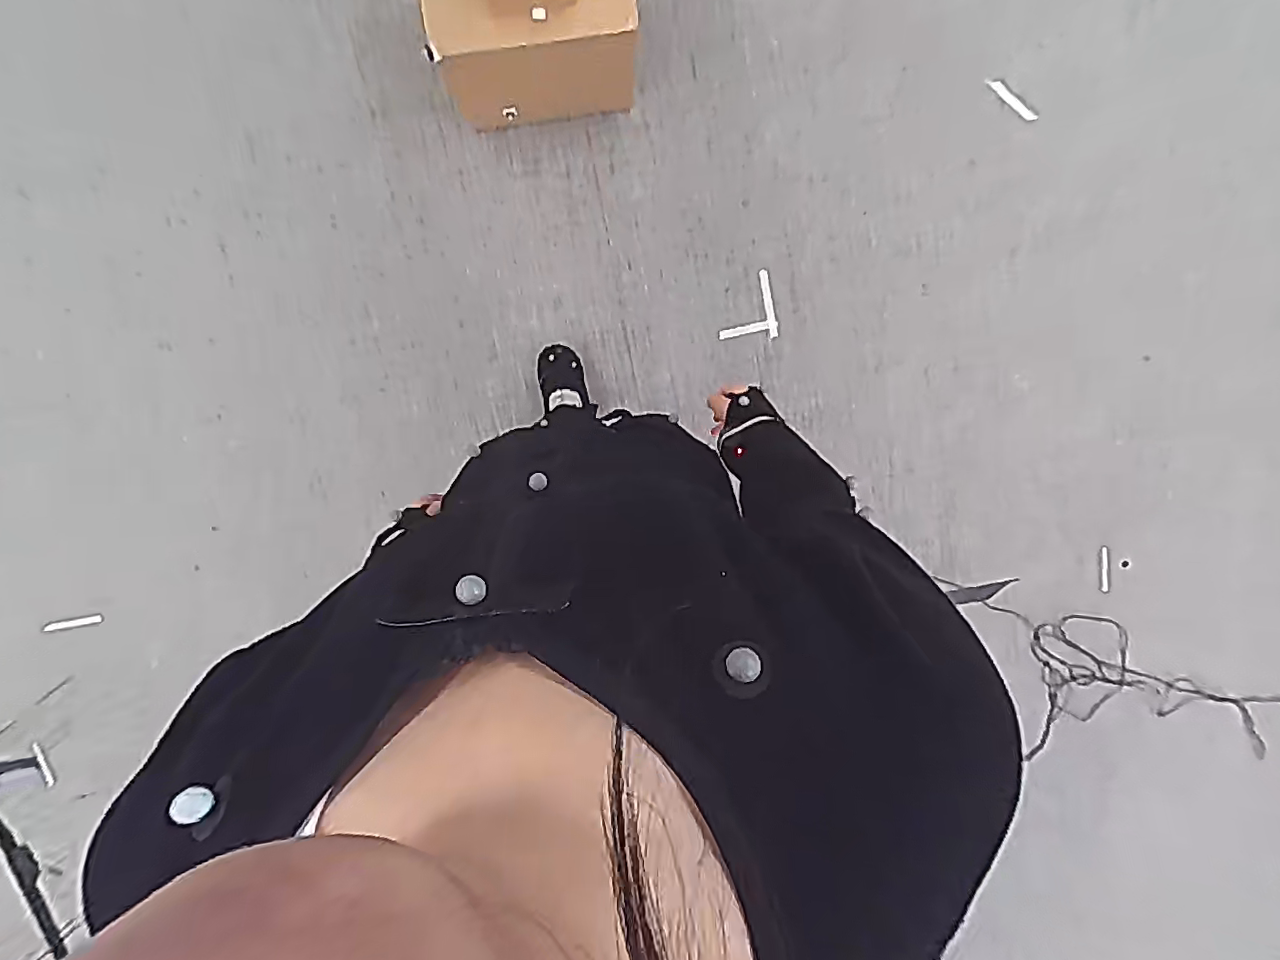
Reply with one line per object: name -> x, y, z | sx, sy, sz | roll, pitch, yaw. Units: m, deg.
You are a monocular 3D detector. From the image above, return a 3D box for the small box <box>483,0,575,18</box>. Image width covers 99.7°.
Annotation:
small box -> -0.211, -0.948, 0.934 | 0.179, 0.176, 0.168 | -11, 101, -2
